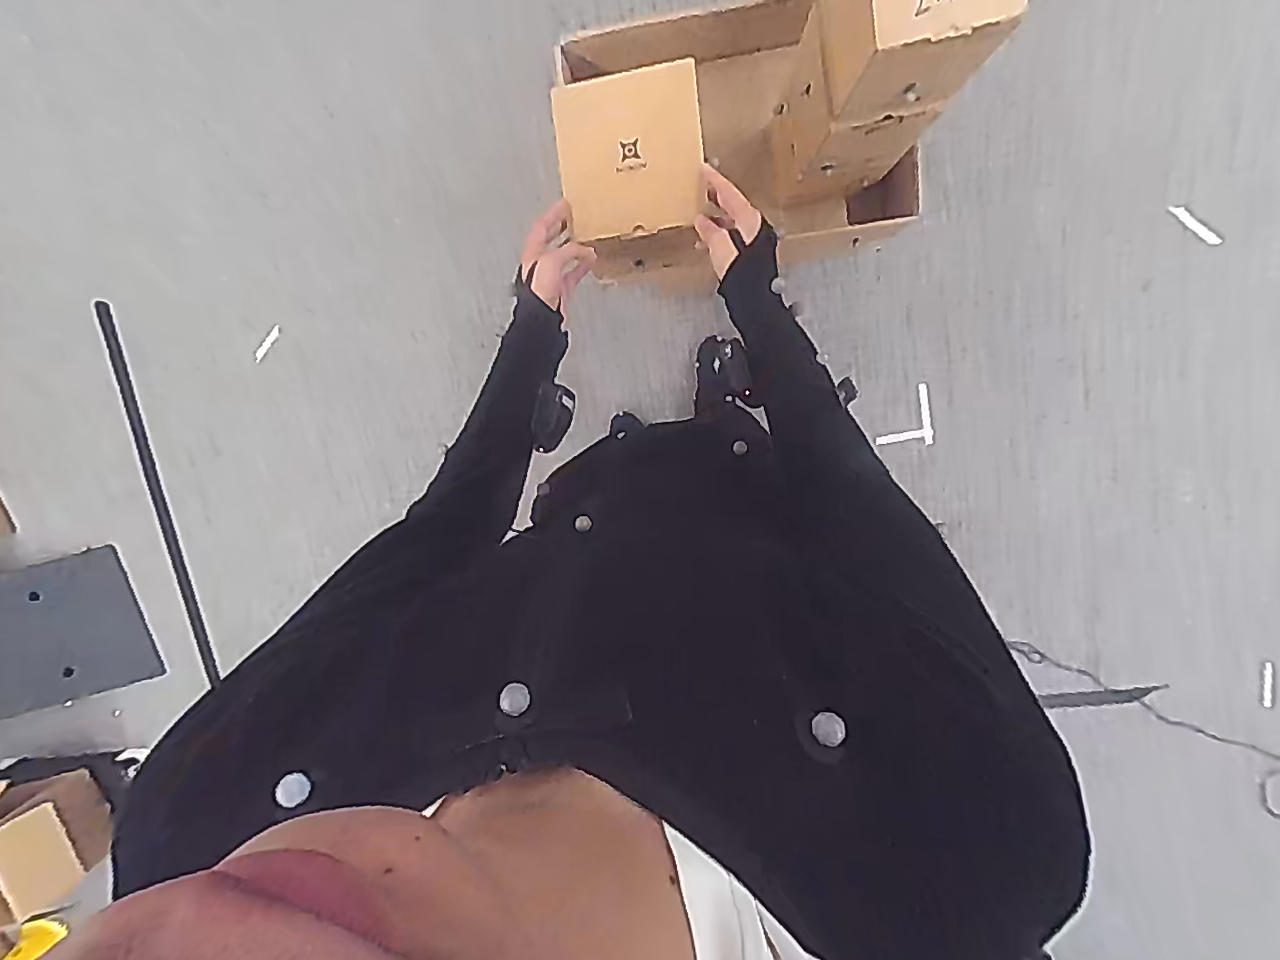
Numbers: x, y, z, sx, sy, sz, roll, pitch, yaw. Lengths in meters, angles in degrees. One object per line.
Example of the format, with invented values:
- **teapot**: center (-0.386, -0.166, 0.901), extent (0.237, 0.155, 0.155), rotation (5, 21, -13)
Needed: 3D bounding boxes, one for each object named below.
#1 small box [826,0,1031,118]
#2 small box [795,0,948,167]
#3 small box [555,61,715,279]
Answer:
- **small box**: center (0.335, -0.588, 0.659), extent (0.168, 0.176, 0.179), rotation (-9, 100, 6)
- **small box**: center (0.342, -0.603, 0.823), extent (0.168, 0.176, 0.179), rotation (-9, 99, 6)
- **small box**: center (0.003, -0.373, 0.685), extent (0.168, 0.176, 0.179), rotation (-6, 98, 8)
